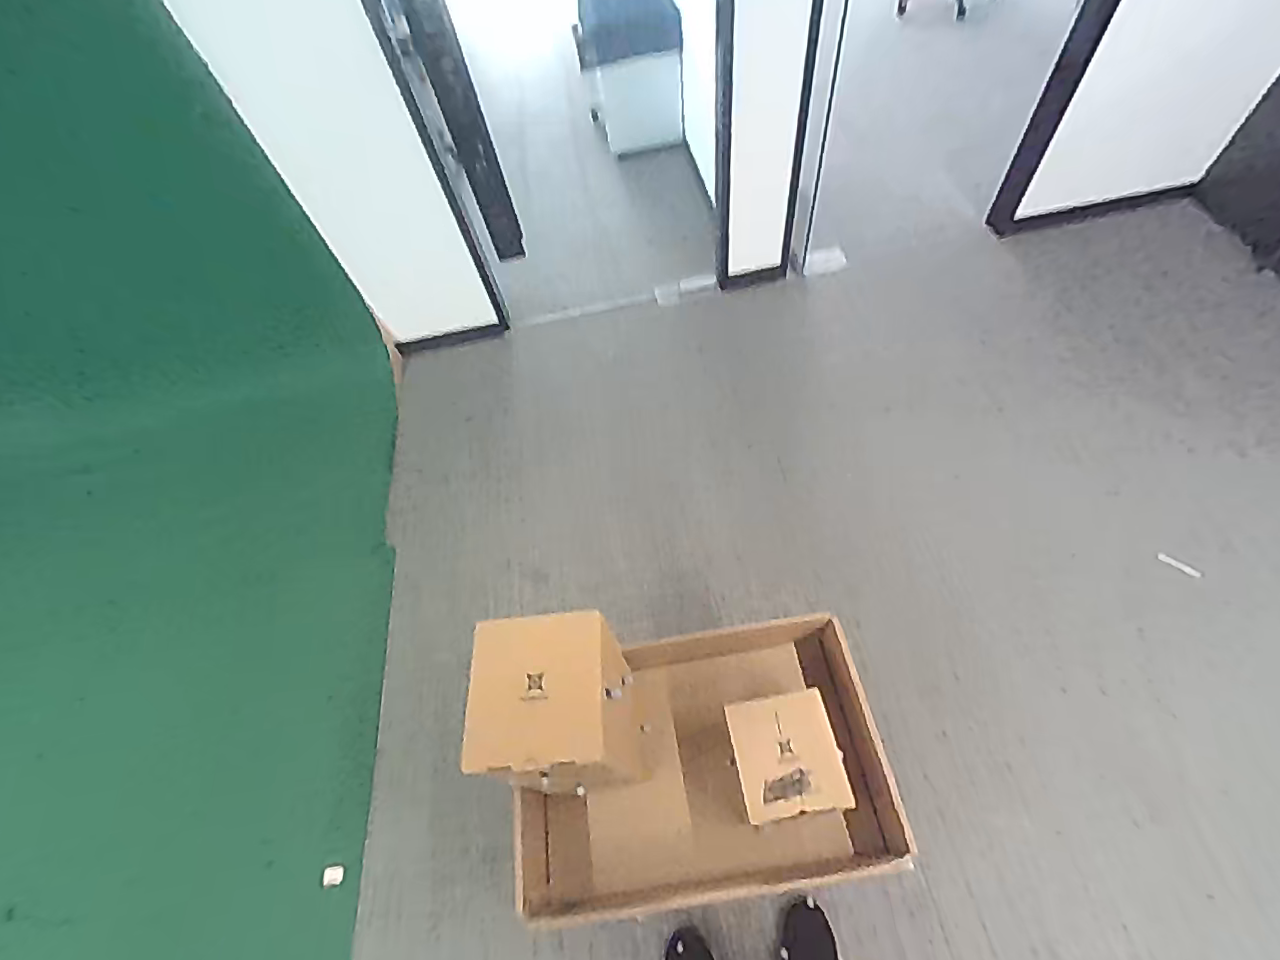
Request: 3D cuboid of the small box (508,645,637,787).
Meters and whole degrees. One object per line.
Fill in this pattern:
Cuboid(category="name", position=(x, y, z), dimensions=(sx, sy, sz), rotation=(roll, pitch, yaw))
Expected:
Cuboid(category="small box", position=(-0.099, 0.375, 0.855), dimensions=(0.168, 0.176, 0.179), rotation=(-7, 57, 4))

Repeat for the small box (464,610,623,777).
Cuboid(category="small box", position=(-0.115, 0.288, 0.720), dimensions=(0.168, 0.176, 0.179), rotation=(-6, 58, 4))

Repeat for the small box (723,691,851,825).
Cuboid(category="small box", position=(0.242, 0.483, 0.934), dimensions=(0.168, 0.176, 0.179), rotation=(-10, 56, 1))

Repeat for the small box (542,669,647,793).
Cuboid(category="small box", position=(-0.082, 0.464, 0.993), dimensions=(0.168, 0.176, 0.179), rotation=(-8, 57, 2))
